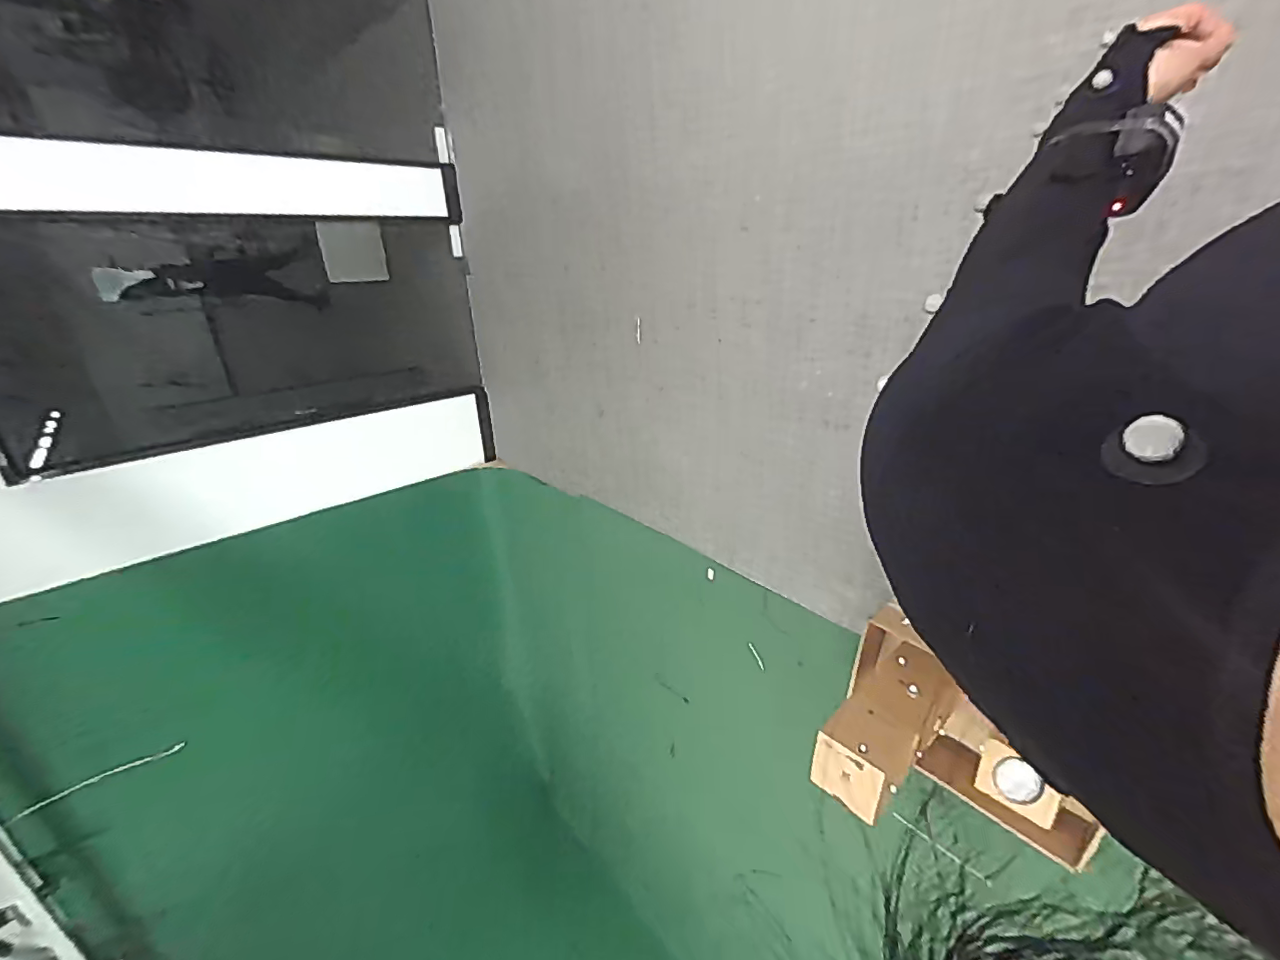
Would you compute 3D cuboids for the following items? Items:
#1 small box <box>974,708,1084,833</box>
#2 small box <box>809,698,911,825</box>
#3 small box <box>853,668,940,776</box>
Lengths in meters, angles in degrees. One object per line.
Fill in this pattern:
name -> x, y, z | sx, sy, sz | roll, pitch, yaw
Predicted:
small box -> 0.967, 0.713, 1.345 | 0.168, 0.176, 0.179 | 21, 120, 46
small box -> 0.538, 0.679, 1.322 | 0.168, 0.176, 0.179 | 23, 123, 43
small box -> 0.661, 0.638, 1.424 | 0.168, 0.176, 0.179 | 27, 123, 41
